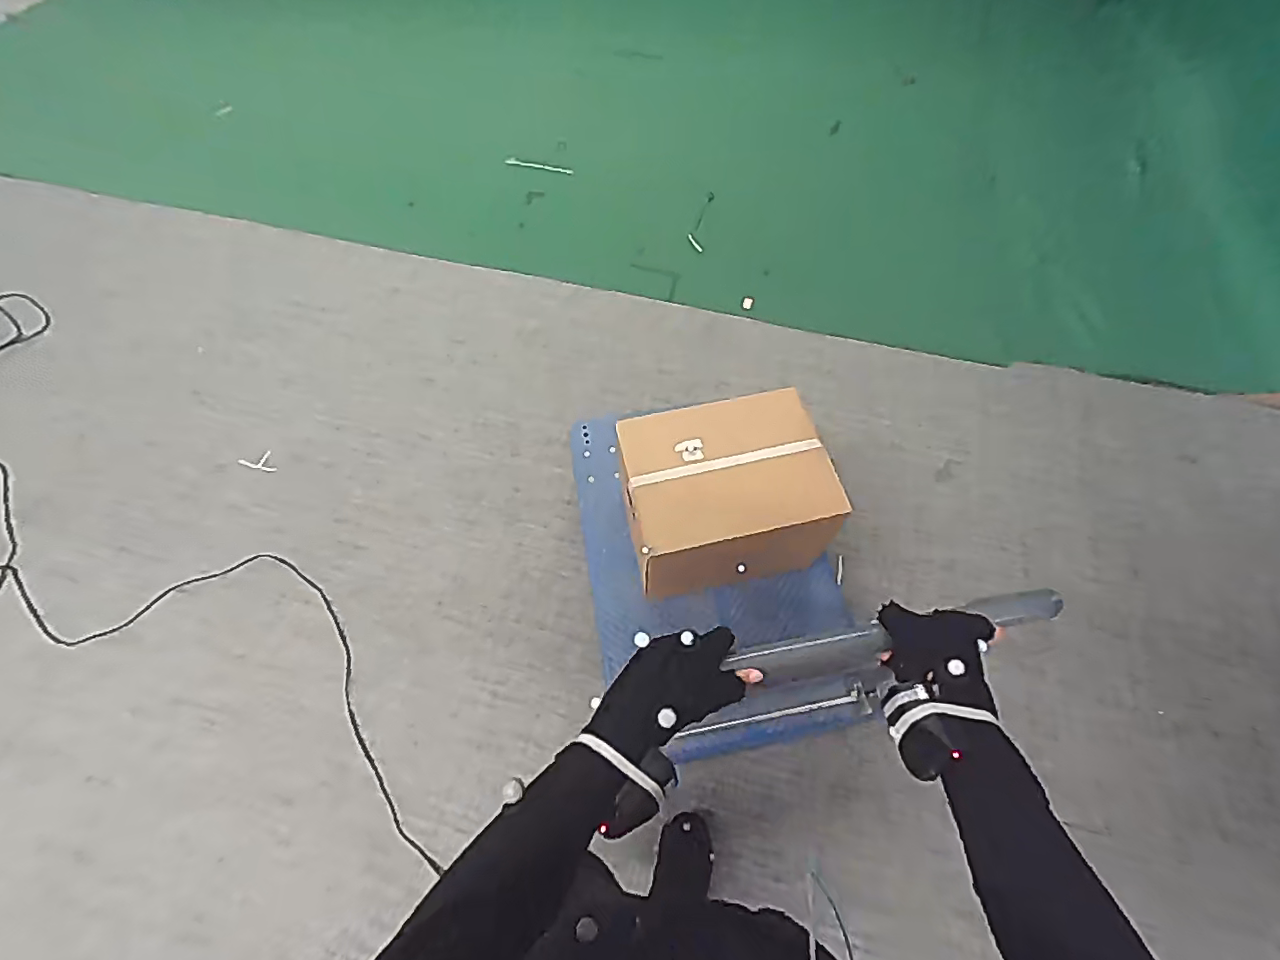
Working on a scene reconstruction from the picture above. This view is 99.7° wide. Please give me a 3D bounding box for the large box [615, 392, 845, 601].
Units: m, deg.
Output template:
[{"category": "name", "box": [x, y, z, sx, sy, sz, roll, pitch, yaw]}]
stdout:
[{"category": "large box", "box": [0.176, 0.048, 1.228, 0.408, 0.320, 0.320, -12, 62, -6]}]
